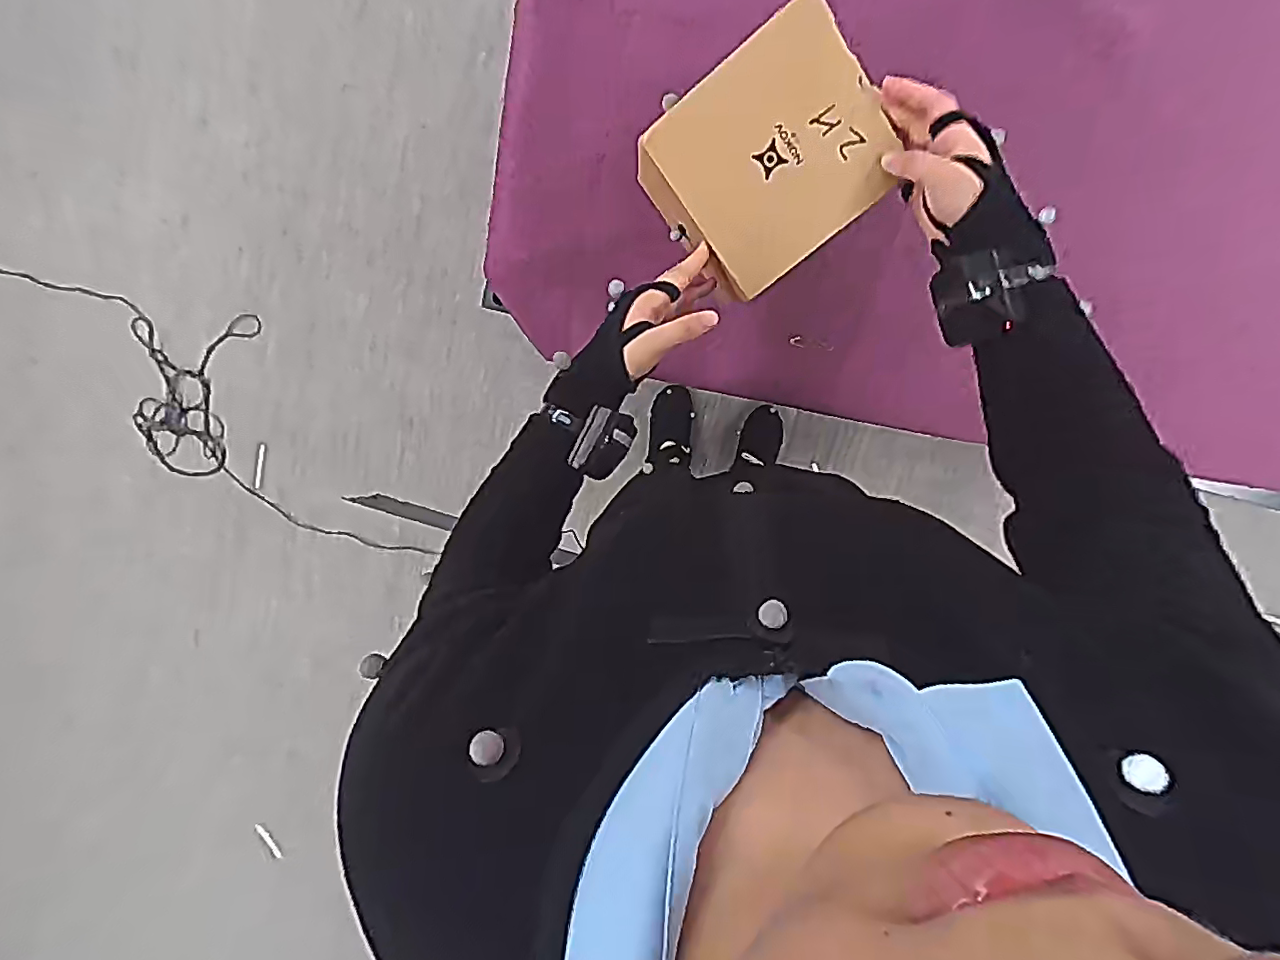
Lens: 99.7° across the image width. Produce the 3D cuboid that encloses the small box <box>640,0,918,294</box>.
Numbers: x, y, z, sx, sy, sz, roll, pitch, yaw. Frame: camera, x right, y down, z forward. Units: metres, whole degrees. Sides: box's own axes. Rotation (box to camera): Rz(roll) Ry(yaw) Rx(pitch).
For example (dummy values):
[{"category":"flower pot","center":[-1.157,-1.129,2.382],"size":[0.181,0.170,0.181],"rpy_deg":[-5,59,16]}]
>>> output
[{"category":"small box","center":[0.117,-0.300,0.524],"size":[0.179,0.176,0.168],"rpy_deg":[-39,105,11]}]
